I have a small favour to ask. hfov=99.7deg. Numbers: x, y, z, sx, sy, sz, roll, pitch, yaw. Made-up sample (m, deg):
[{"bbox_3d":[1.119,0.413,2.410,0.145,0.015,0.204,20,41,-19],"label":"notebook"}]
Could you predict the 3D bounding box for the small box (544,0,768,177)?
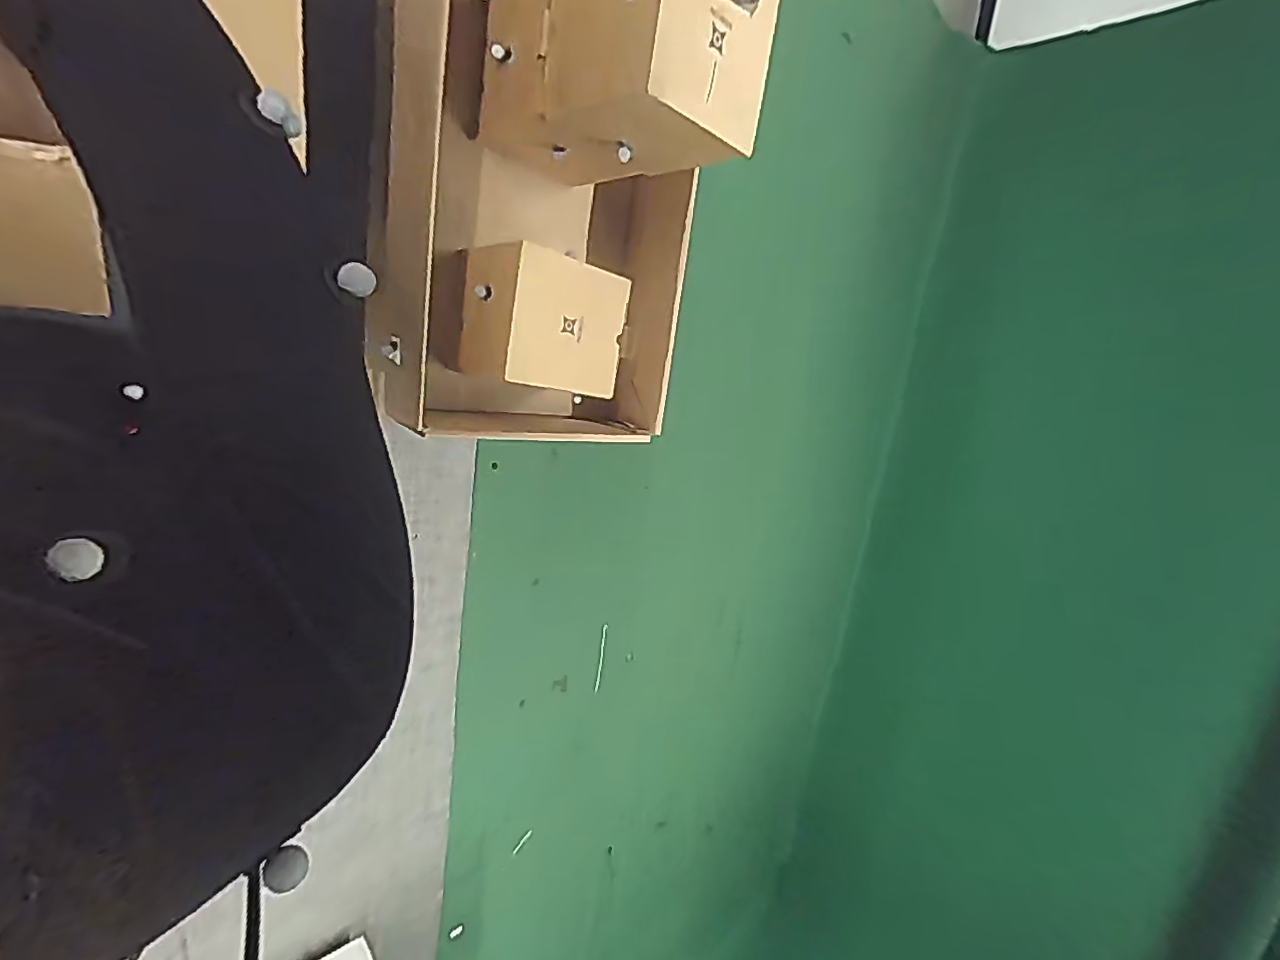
[{"bbox_3d":[0.012,-0.459,0.592,0.168,0.176,0.179,-4,108,-44],"label":"small box"}]
